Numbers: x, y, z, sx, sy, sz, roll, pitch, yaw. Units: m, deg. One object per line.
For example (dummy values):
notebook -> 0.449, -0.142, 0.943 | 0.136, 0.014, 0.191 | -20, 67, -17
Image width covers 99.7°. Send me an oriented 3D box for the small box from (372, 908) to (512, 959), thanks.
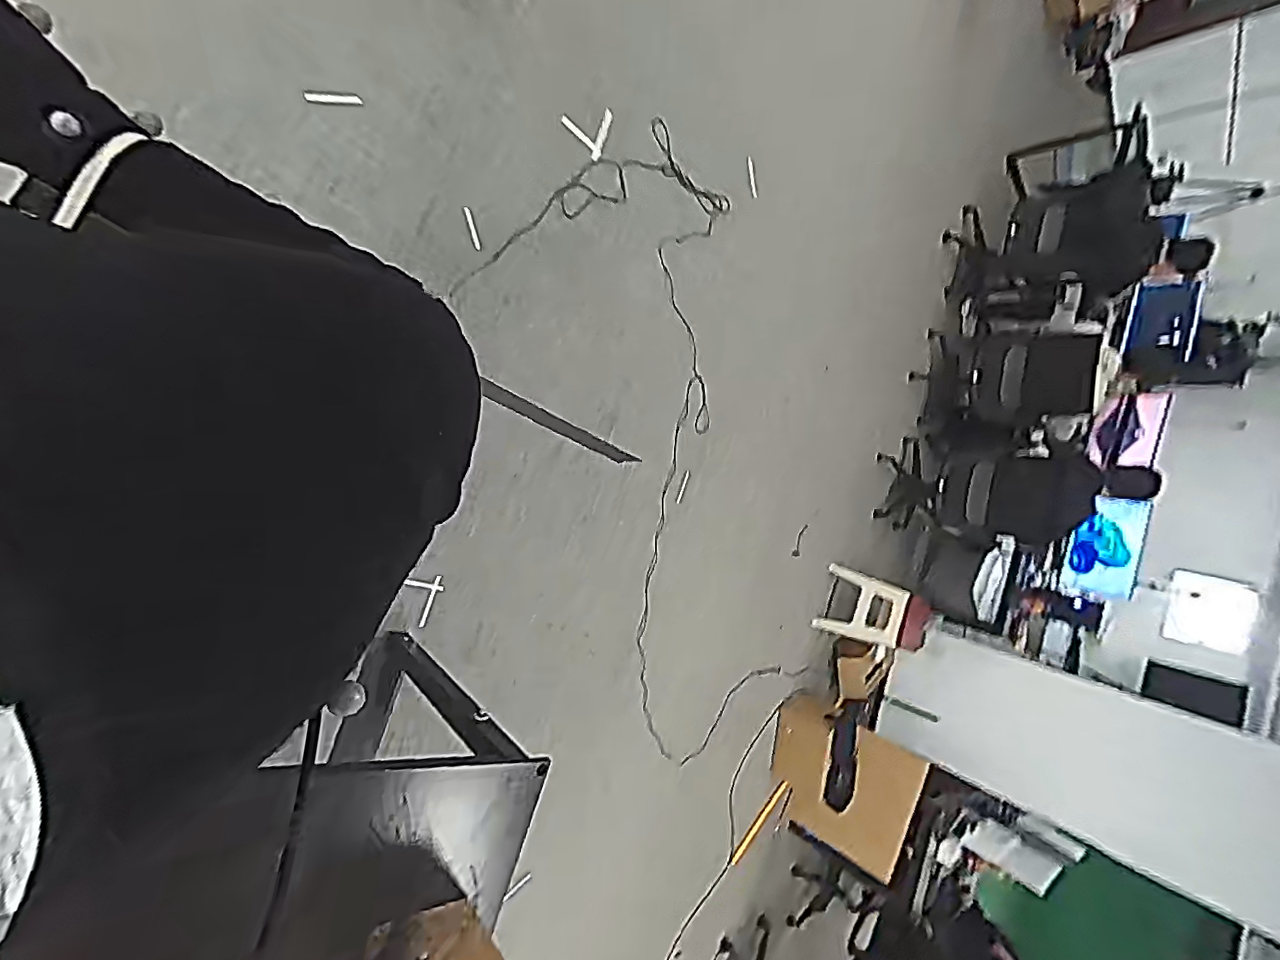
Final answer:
small box -> -0.319, 0.808, 0.831 | 0.168, 0.176, 0.179 | 18, 87, -42
